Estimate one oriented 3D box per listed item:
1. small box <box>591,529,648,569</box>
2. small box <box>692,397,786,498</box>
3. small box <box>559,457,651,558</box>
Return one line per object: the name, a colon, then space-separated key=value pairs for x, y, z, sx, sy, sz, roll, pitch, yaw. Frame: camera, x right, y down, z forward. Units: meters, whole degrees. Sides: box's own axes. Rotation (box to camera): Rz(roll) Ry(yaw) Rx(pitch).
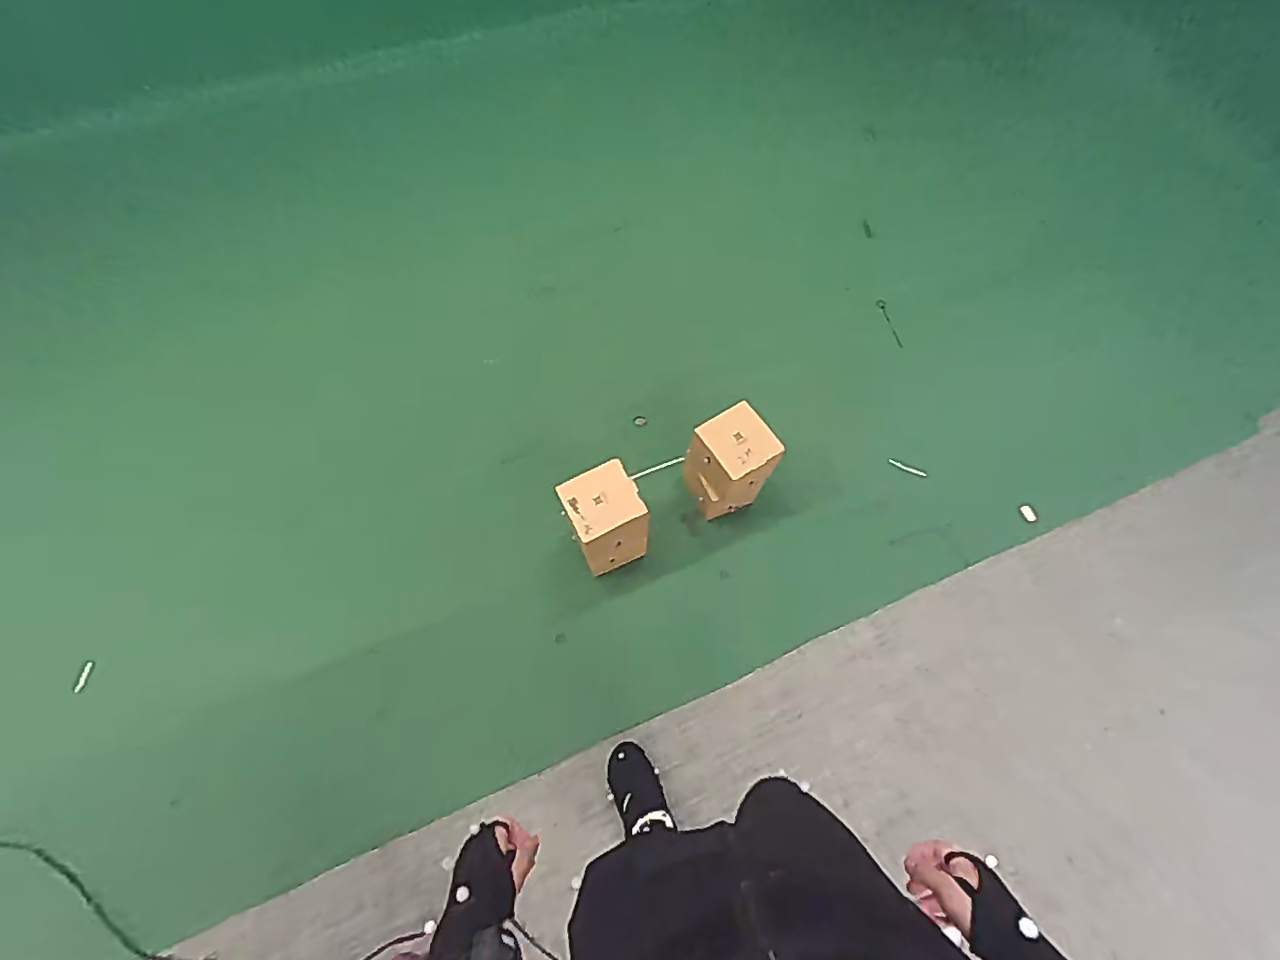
small box: x=-0.082 y=0.138 z=1.527 sx=0.168 sy=0.176 sz=0.179 roll=-24 pitch=68 yaw=-9
small box: x=0.255 y=-0.081 z=1.441 sx=0.168 sy=0.176 sz=0.179 roll=-31 pitch=71 yaw=-12
small box: x=-0.087 y=0.074 z=1.376 sx=0.179 sy=0.176 sz=0.168 roll=-26 pitch=68 yaw=-11
